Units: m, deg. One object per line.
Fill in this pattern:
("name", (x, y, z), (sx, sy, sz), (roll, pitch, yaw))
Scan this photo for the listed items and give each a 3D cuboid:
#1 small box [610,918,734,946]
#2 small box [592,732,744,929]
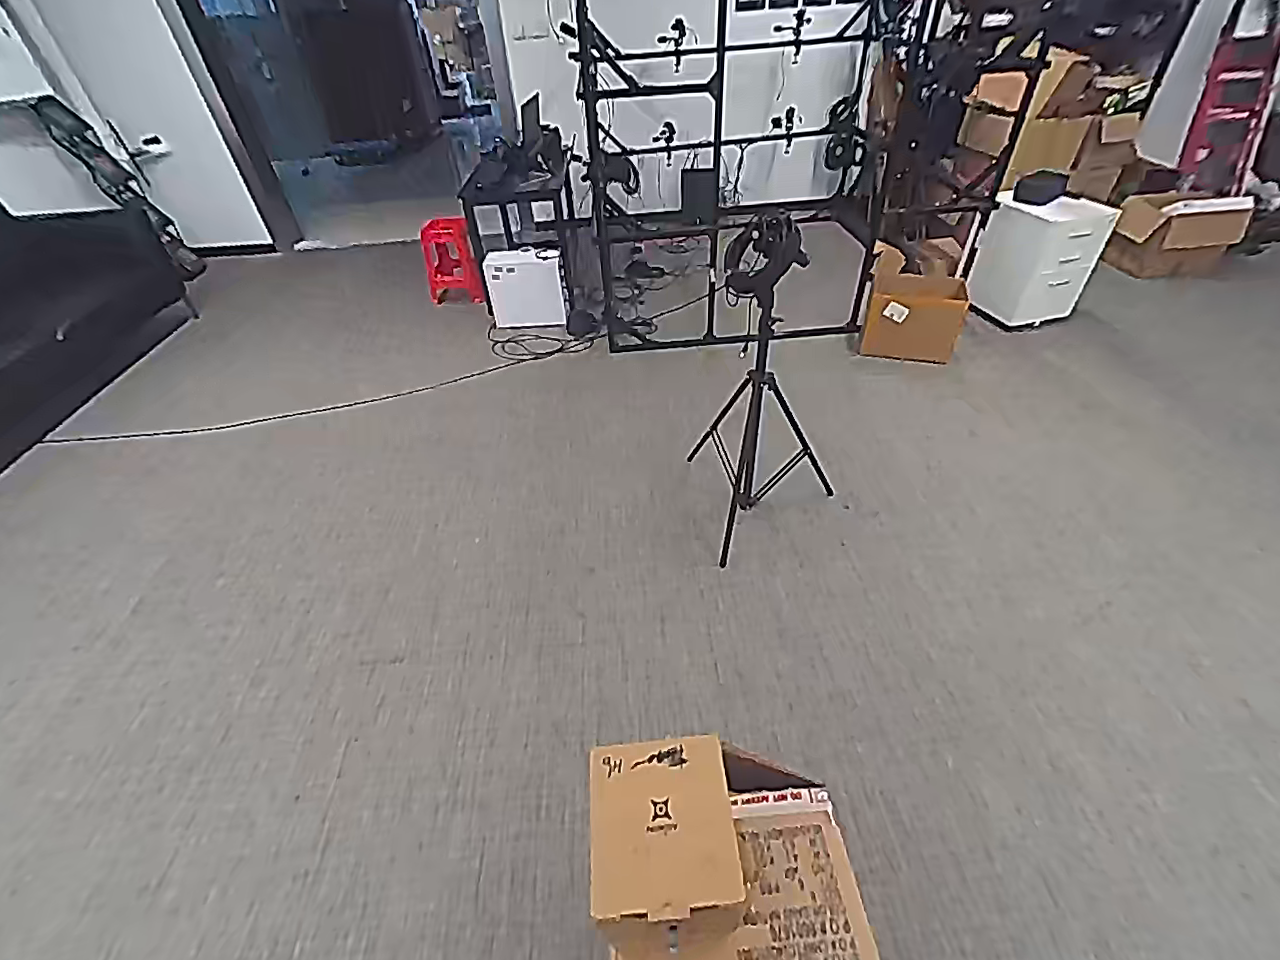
("small box", (0.040, 0.558, 0.801), (0.168, 0.176, 0.179), (-8, 44, -1))
("small box", (0.033, 0.445, 0.681), (0.168, 0.176, 0.179), (-7, 44, 0))
